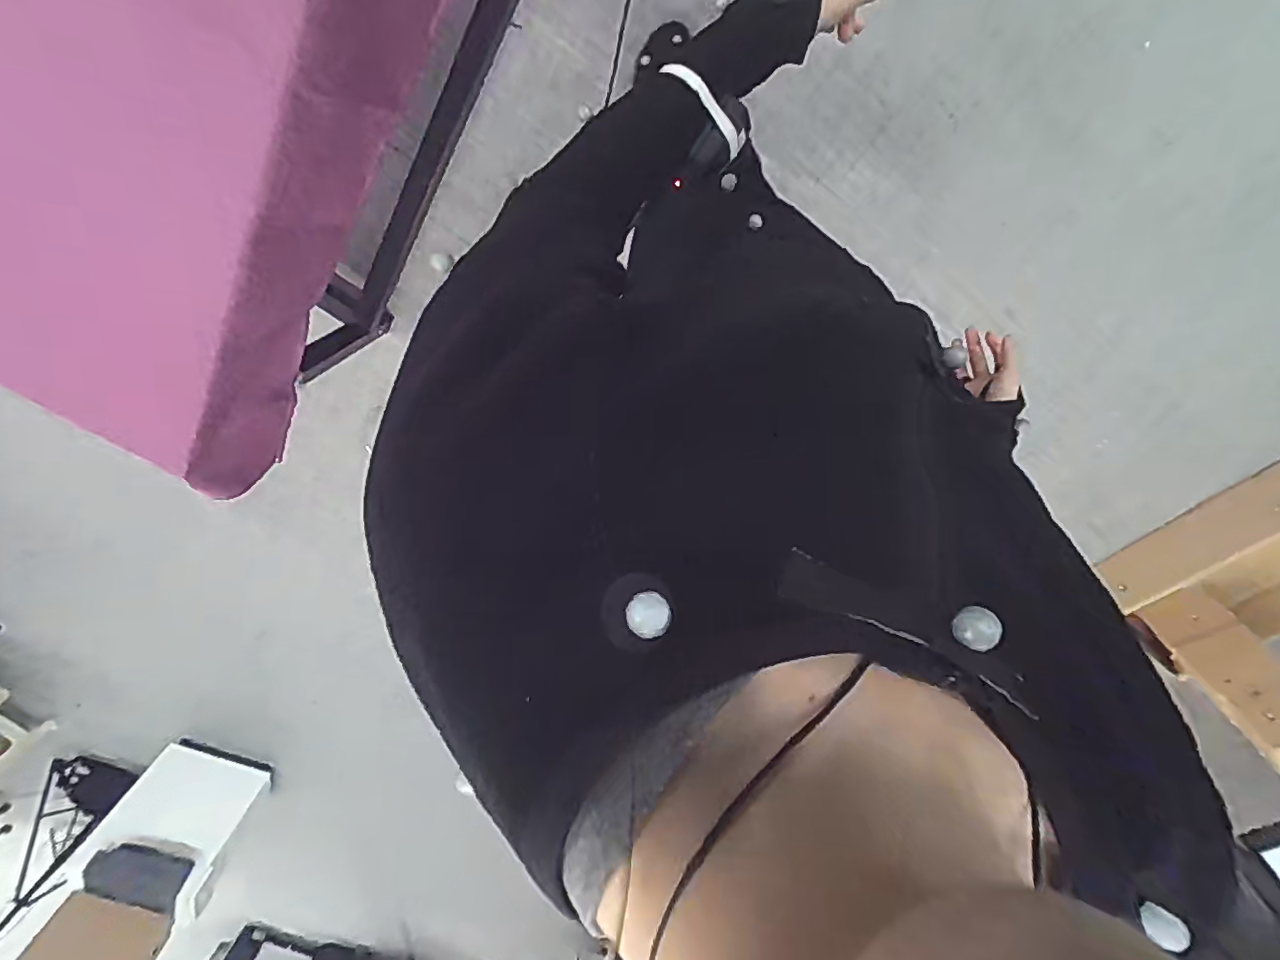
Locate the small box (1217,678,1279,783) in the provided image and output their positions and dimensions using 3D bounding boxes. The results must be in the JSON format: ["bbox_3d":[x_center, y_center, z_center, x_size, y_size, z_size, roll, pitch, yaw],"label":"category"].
[{"bbox_3d":[1.625,0.623,1.362,0.168,0.176,0.179,-32,113,25],"label":"small box"}]

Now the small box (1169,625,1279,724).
[{"bbox_3d":[1.642,0.533,1.497,0.179,0.176,0.168,-35,112,25],"label":"small box"}]
